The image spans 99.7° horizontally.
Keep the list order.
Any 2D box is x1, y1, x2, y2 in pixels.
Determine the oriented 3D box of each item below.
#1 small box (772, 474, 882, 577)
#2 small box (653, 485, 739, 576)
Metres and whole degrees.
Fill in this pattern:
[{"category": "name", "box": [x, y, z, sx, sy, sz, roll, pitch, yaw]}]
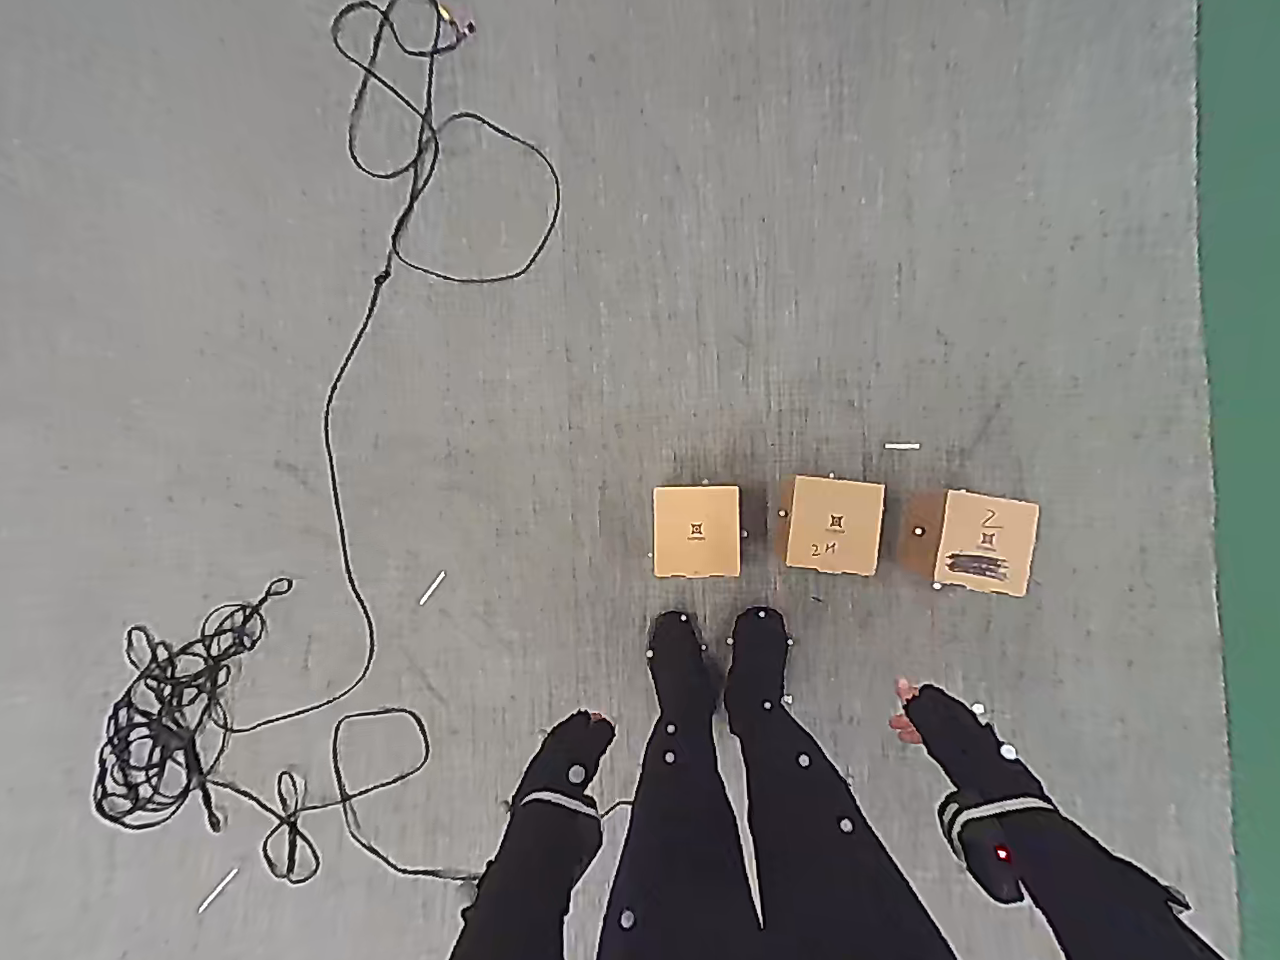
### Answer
[{"category": "small box", "box": [0.368, 0.086, 1.092, 0.168, 0.176, 0.179, 7, 90, 6]}, {"category": "small box", "box": [0.113, 0.100, 1.116, 0.168, 0.176, 0.179, -1, 89, 5]}]
